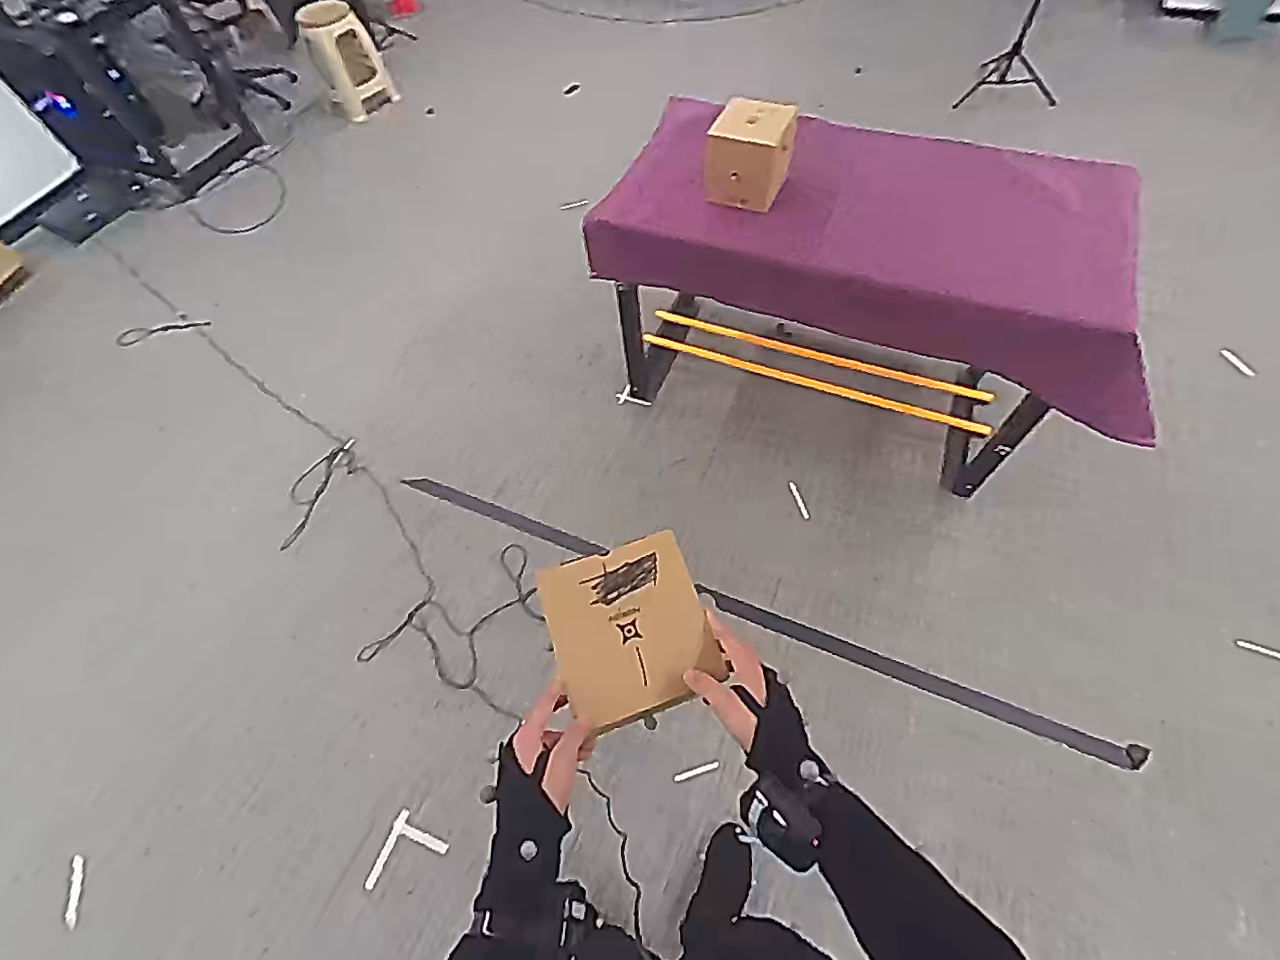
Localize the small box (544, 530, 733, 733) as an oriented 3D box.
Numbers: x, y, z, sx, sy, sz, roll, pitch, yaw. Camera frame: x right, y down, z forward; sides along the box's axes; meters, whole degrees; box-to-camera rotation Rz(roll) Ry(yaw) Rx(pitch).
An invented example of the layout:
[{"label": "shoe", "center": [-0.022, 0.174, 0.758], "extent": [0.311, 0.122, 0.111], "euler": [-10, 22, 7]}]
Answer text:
[{"label": "small box", "center": [-0.008, 0.187, 0.648], "extent": [0.168, 0.176, 0.179], "euler": [-16, 65, -8]}]

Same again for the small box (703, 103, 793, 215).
[{"label": "small box", "center": [0.263, -0.793, 1.344], "extent": [0.168, 0.176, 0.179], "euler": [21, 63, 15]}]
